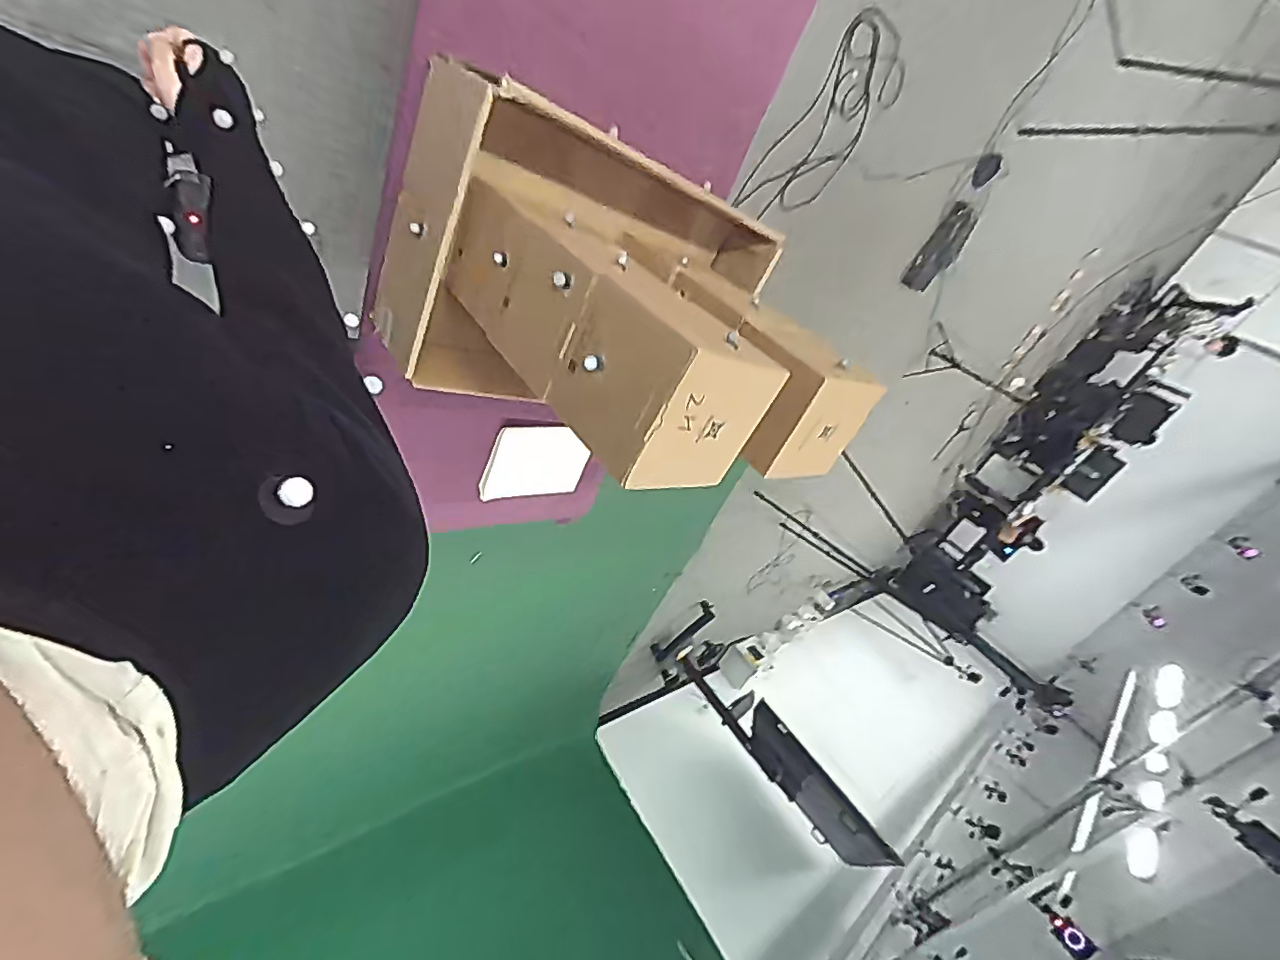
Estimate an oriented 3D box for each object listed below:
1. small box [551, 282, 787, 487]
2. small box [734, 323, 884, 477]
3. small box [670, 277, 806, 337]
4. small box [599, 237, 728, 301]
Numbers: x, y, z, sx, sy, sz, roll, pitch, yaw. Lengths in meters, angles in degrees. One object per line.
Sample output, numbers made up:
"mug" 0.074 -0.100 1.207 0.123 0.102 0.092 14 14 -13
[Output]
"small box" 0.028 -0.108 0.633 0.179 0.176 0.168 0 128 -46
"small box" 0.223 -0.121 0.825 0.179 0.176 0.168 -2 130 -42
"small box" 0.135 -0.224 0.916 0.179 0.176 0.168 -4 131 -43
"small box" 0.040 -0.326 1.003 0.179 0.176 0.168 -2 130 -42
